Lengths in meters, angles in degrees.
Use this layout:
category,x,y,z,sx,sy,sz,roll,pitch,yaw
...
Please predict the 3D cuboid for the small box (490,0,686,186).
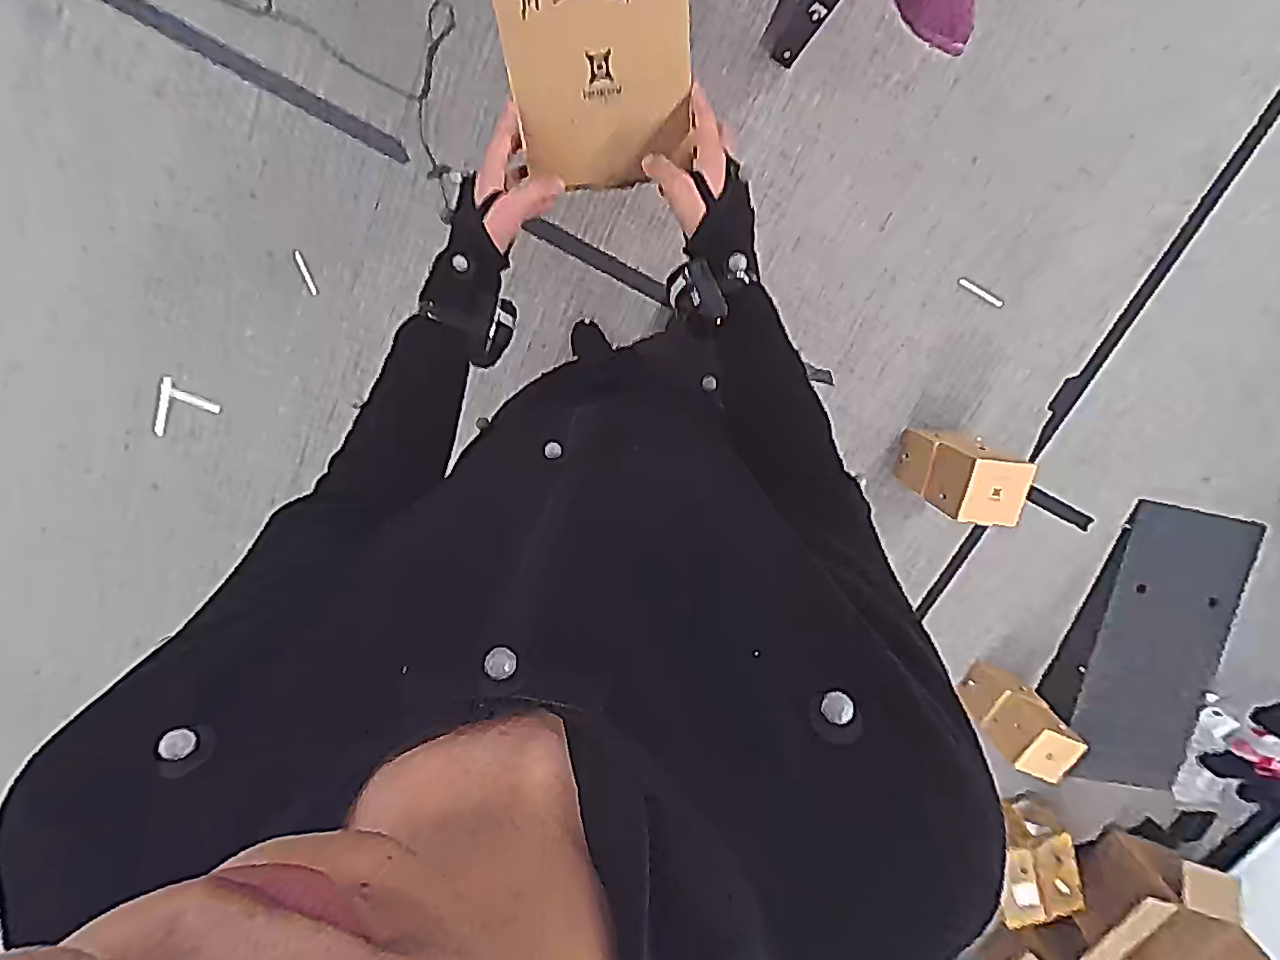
category,x,y,z,sx,sy,sz,roll,pitch,yaw
small box,-0.041,-0.422,0.547,0.168,0.176,0.179,-4,131,4
